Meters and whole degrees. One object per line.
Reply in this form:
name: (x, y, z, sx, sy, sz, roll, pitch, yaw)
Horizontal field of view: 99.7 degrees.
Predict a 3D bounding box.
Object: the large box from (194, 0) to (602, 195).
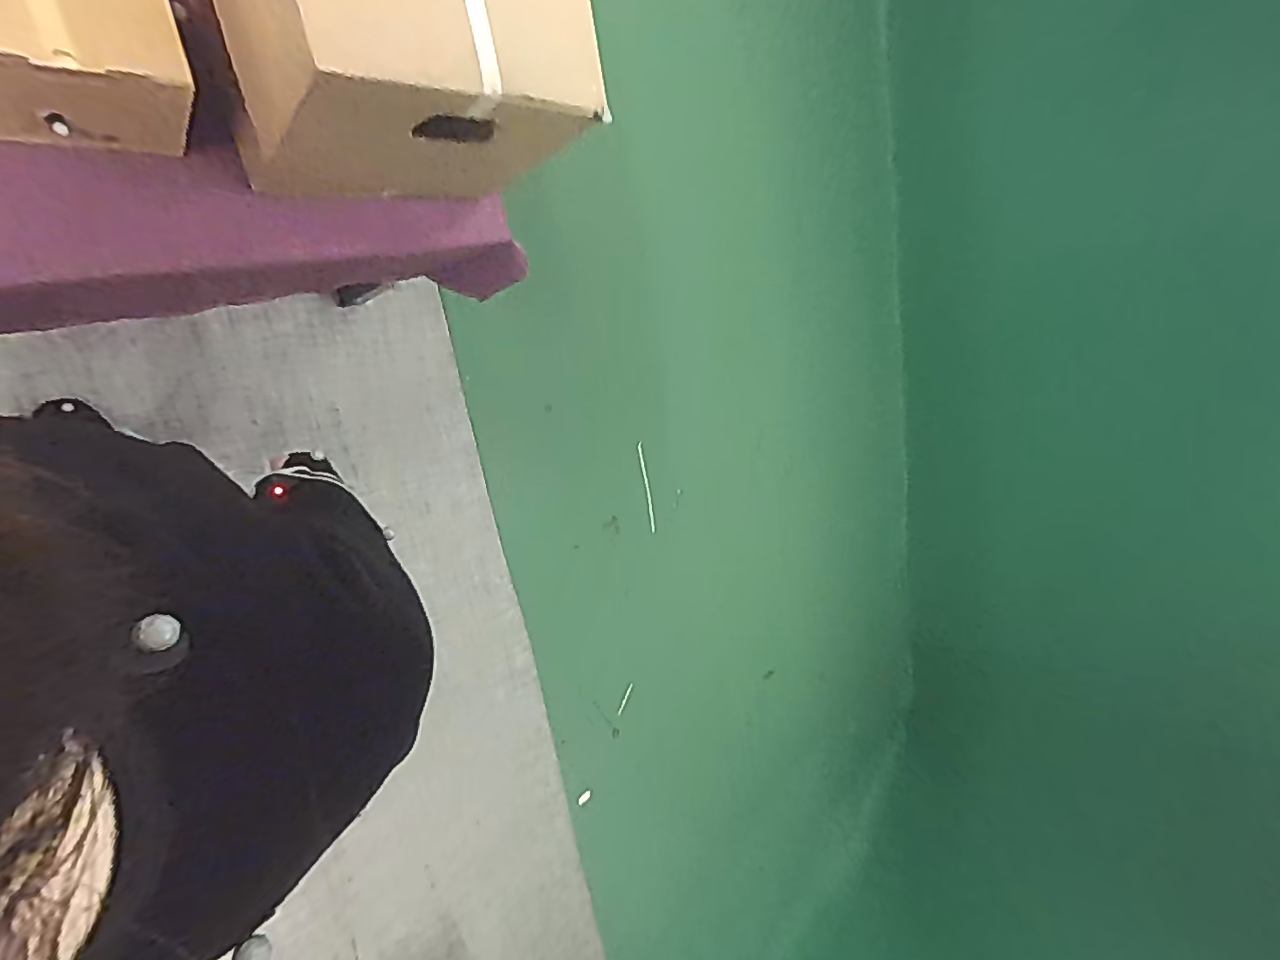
large box: (-0.289, -0.575, 0.591, 0.320, 0.320, 0.408, -24, 111, -40)
